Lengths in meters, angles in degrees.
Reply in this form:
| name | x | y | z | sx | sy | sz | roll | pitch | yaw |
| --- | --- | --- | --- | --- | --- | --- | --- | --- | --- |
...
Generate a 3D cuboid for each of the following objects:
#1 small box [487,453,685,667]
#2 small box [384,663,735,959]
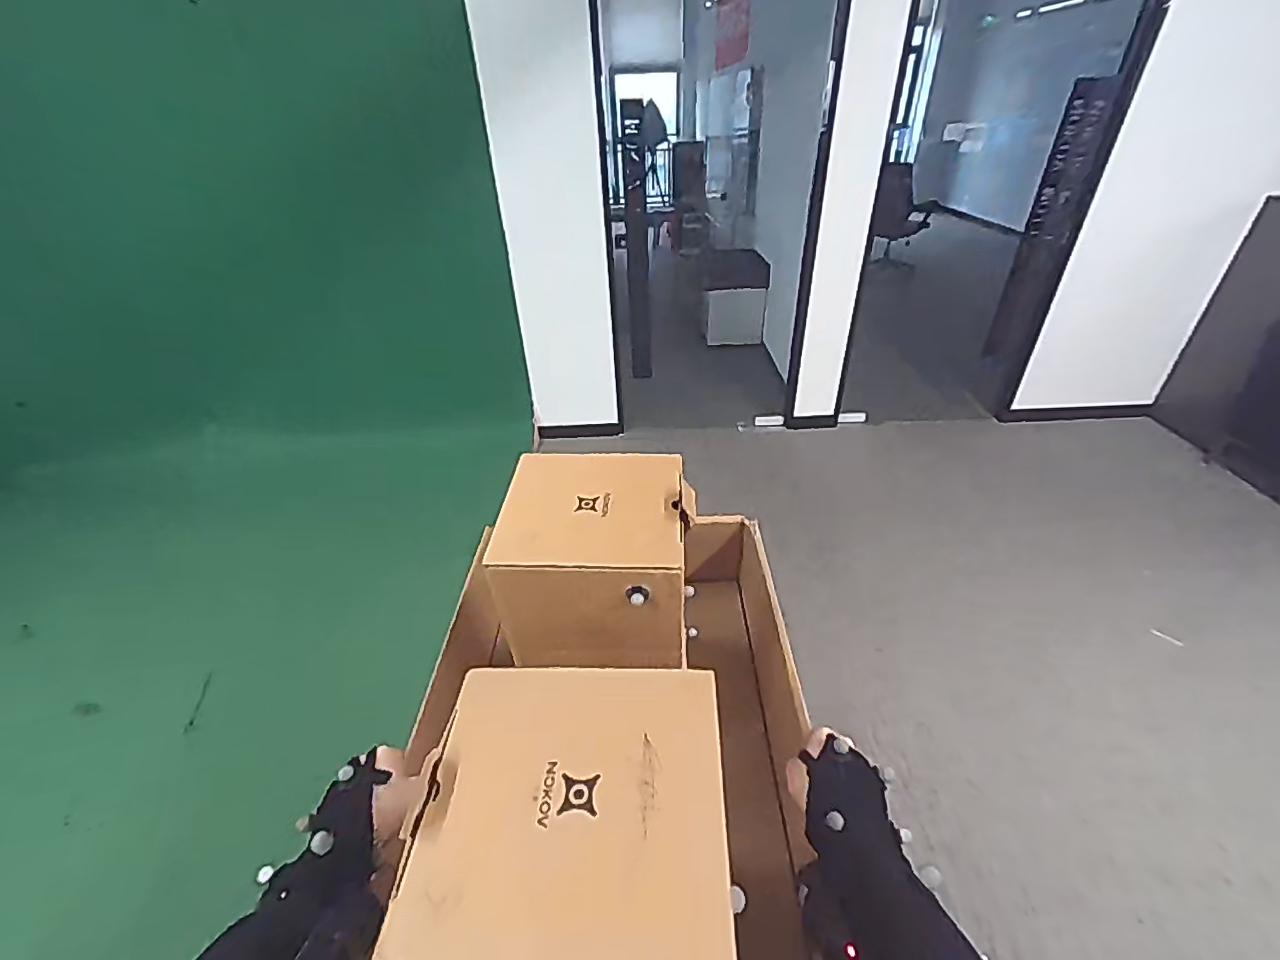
| name | x | y | z | sx | sy | sz | roll | pitch | yaw |
| --- | --- | --- | --- | --- | --- | --- | --- | --- | --- |
| small box | -0.041 | 0.086 | 0.576 | 0.179 | 0.176 | 0.168 | 1 | 39 | 3 |
| small box | -0.034 | 0.246 | 0.370 | 0.179 | 0.176 | 0.168 | 0 | 39 | 3 |
